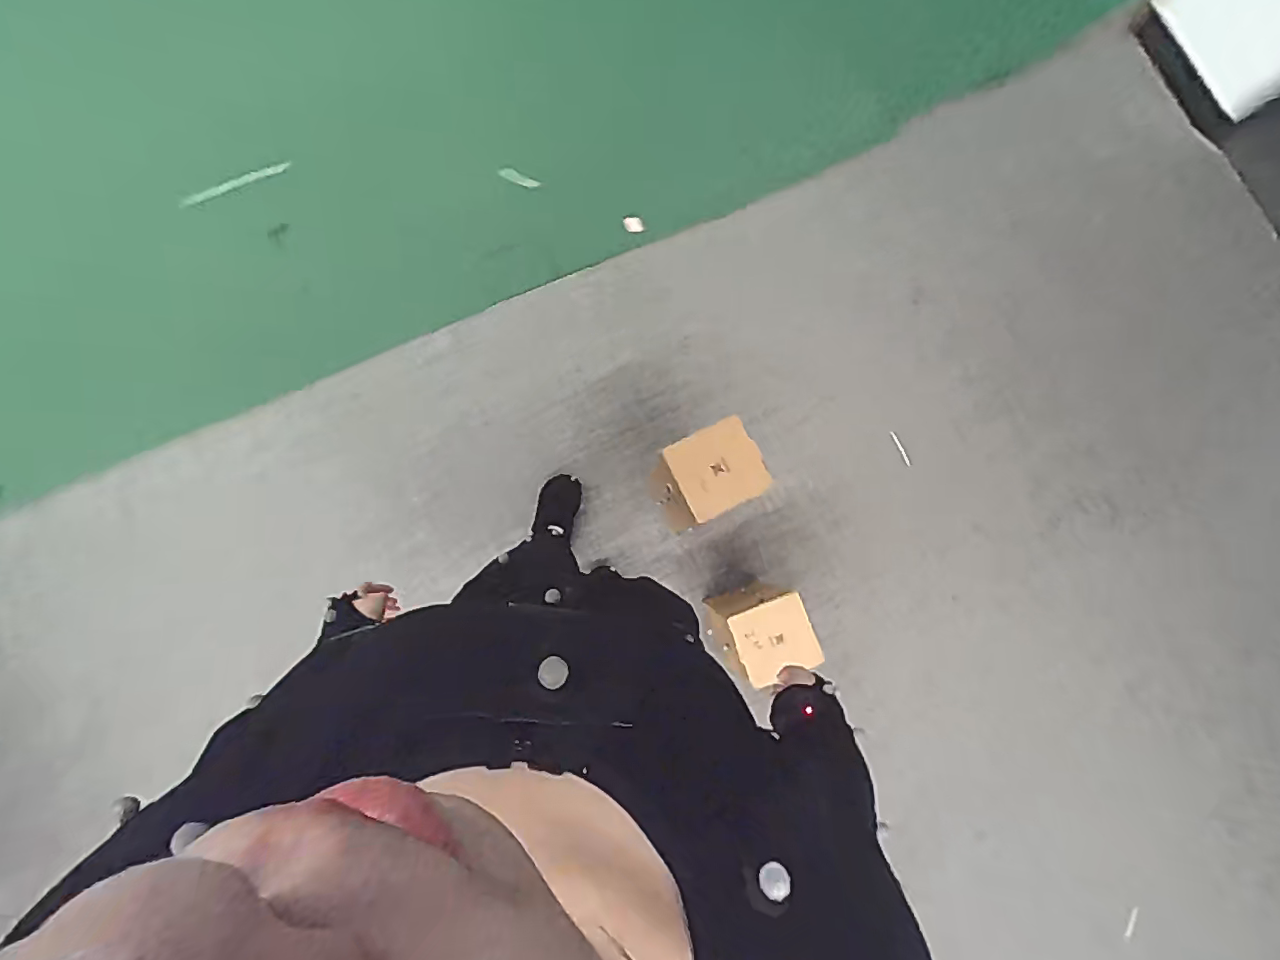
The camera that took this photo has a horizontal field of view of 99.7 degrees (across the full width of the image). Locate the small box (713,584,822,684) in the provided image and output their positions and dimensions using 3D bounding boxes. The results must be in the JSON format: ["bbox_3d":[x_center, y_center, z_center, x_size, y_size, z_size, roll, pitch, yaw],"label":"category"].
[{"bbox_3d":[0.291,0.351,1.271,0.179,0.176,0.168,-20,85,-5],"label":"small box"}]

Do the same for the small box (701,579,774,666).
[{"bbox_3d":[0.278,0.368,1.434,0.179,0.176,0.168,-18,85,-4],"label":"small box"}]

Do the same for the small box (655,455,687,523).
[{"bbox_3d":[0.146,-0.005,1.301,0.179,0.176,0.168,-27,86,-5],"label":"small box"}]

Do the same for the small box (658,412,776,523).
[{"bbox_3d":[0.152,-0.019,1.139,0.179,0.176,0.168,-26,84,-5],"label":"small box"}]
